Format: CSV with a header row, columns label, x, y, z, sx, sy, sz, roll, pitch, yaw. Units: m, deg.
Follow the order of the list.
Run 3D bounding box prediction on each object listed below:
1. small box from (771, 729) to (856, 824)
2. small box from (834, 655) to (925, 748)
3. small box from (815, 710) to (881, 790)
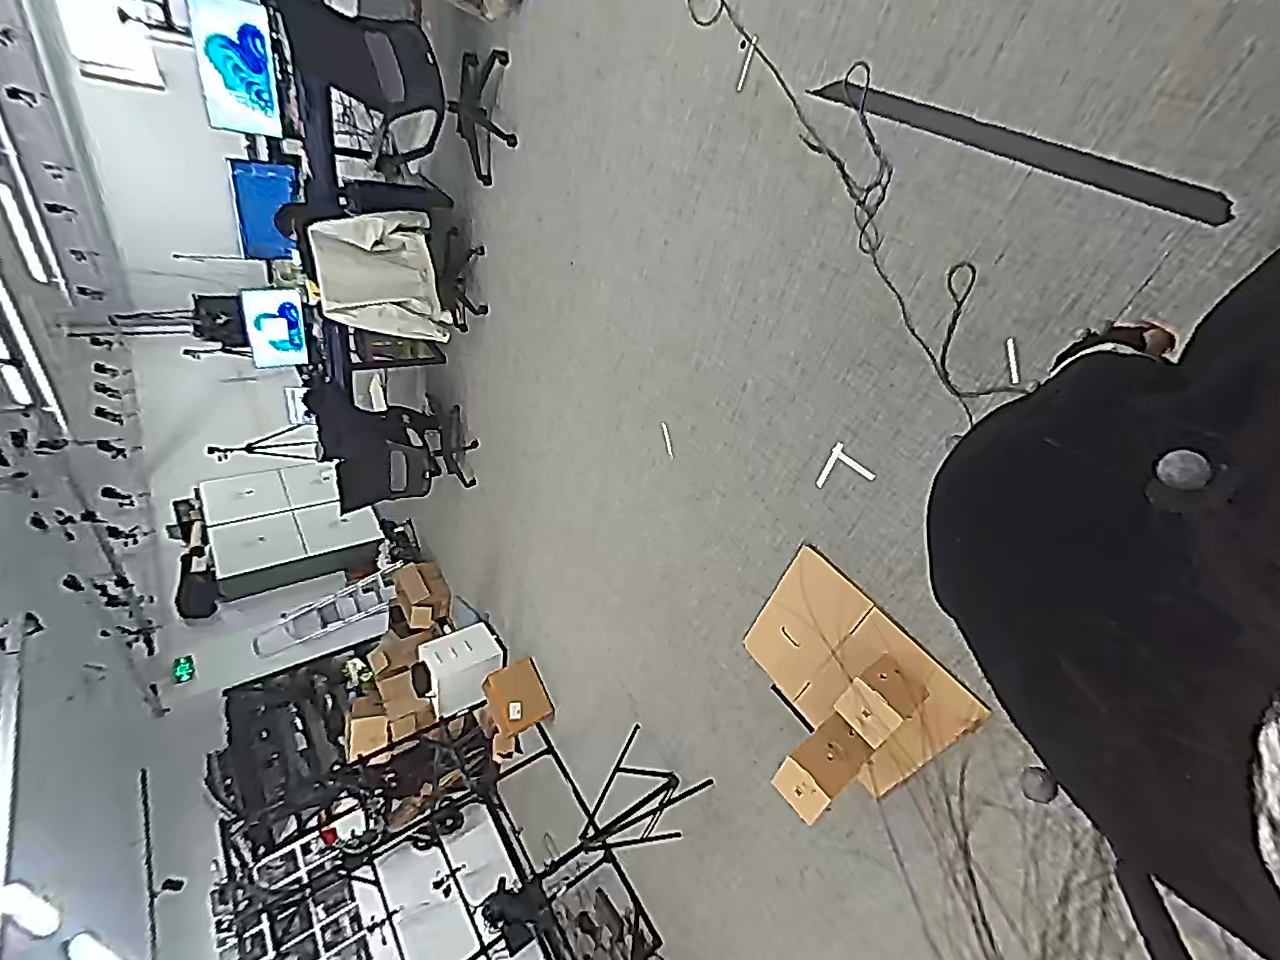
label,x,y,z,sx,sy,sz,roll,pitch,yaw
small box,0.556,0.941,1.726,0.168,0.176,0.179,41,132,35
small box,0.743,0.676,1.667,0.168,0.176,0.179,45,135,35
small box,0.682,0.902,1.825,0.168,0.176,0.179,41,131,38
